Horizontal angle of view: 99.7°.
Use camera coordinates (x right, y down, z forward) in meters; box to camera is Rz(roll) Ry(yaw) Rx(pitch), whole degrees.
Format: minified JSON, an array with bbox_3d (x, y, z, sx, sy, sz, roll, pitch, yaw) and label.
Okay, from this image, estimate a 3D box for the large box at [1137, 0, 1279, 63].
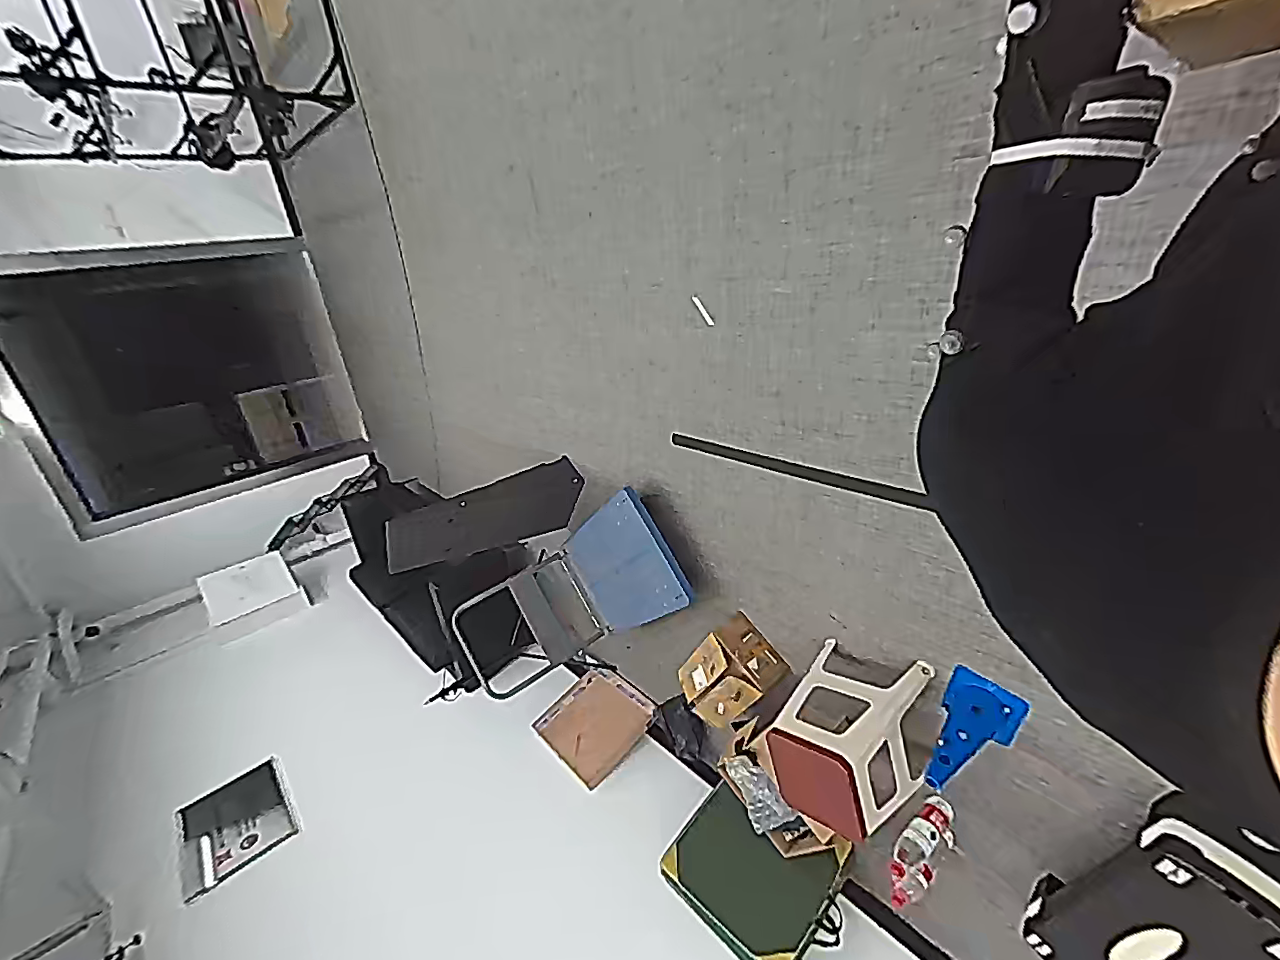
[{"bbox_3d":[0.520,-0.449,0.231,0.408,0.320,0.320,14,122,45],"label":"large box"}]
